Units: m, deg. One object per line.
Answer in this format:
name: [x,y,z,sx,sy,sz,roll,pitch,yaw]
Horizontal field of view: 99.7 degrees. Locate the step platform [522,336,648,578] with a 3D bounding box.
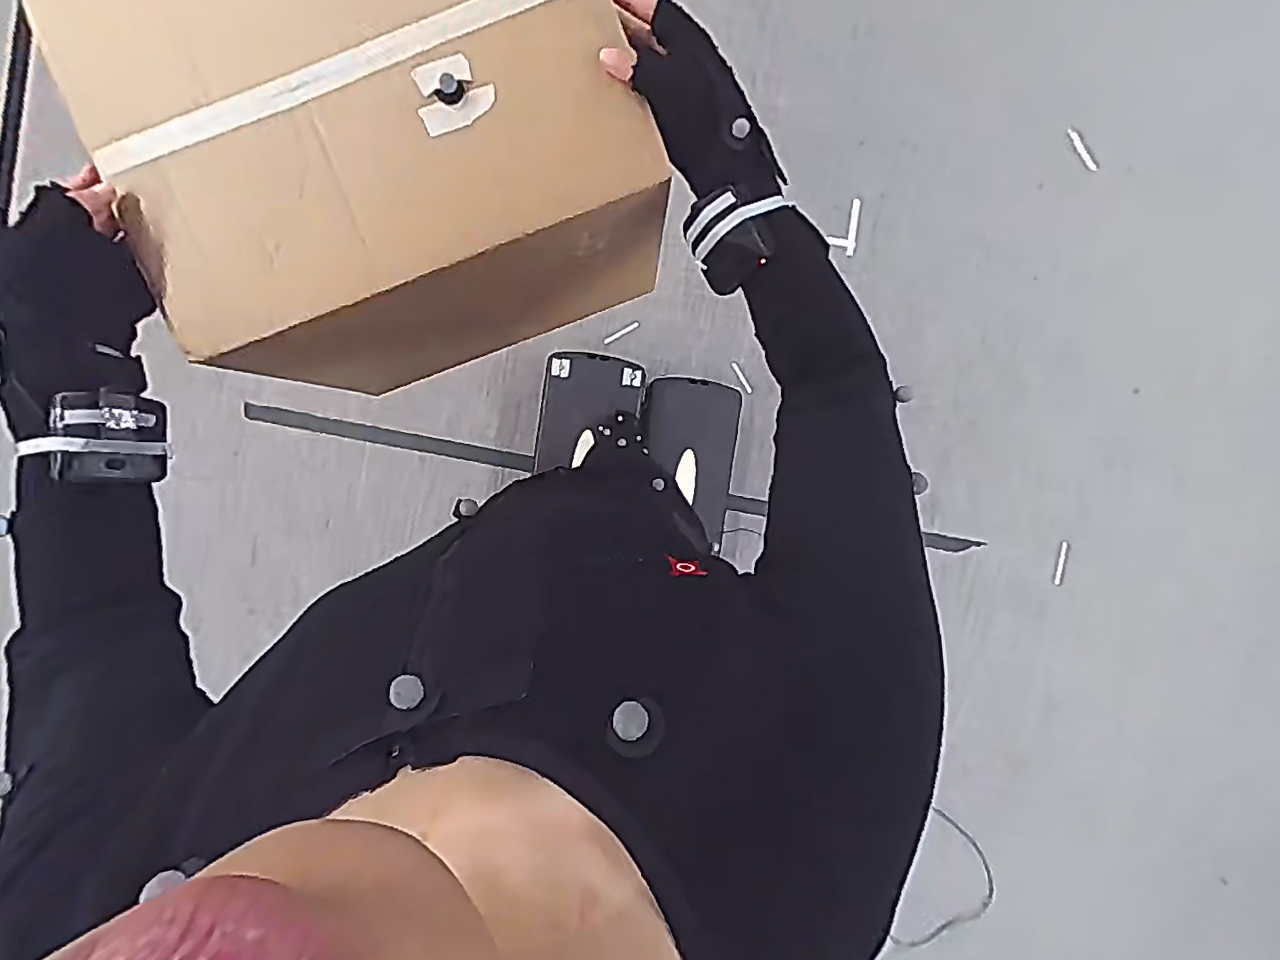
step platform: [-0.157,-0.062,1.570,0.286,0.204,0.684,8,91,-4]

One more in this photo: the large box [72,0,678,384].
large box: [-0.210,-0.328,0.569,0.408,0.320,0.320,-20,95,0]
